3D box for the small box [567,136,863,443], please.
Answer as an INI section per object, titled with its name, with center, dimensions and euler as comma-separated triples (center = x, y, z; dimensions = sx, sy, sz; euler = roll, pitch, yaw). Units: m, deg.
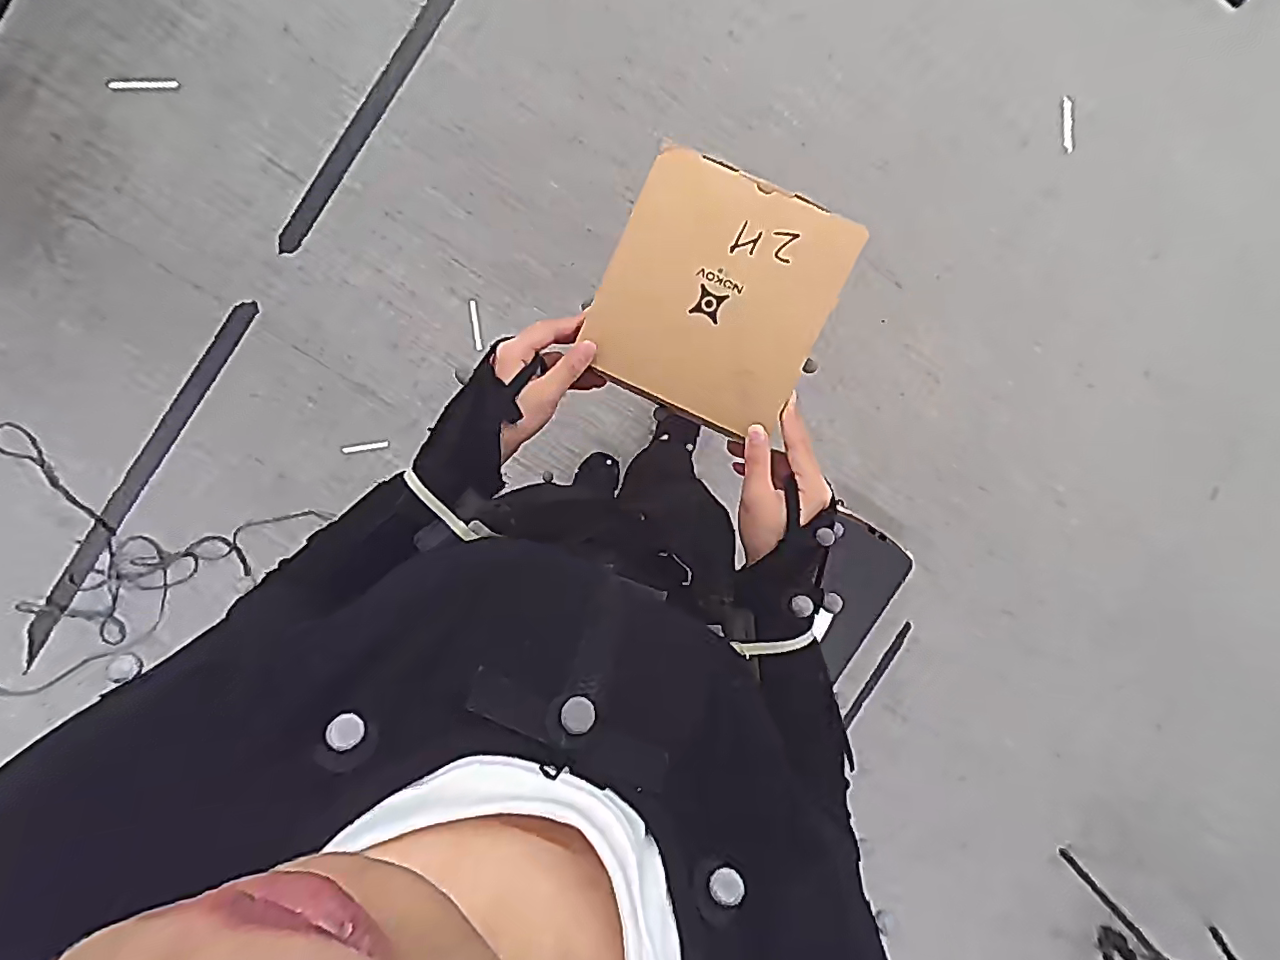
[small box]
center = 0.059, -0.144, 0.475
dimensions = 0.168, 0.176, 0.179
euler = 25, 96, 2
